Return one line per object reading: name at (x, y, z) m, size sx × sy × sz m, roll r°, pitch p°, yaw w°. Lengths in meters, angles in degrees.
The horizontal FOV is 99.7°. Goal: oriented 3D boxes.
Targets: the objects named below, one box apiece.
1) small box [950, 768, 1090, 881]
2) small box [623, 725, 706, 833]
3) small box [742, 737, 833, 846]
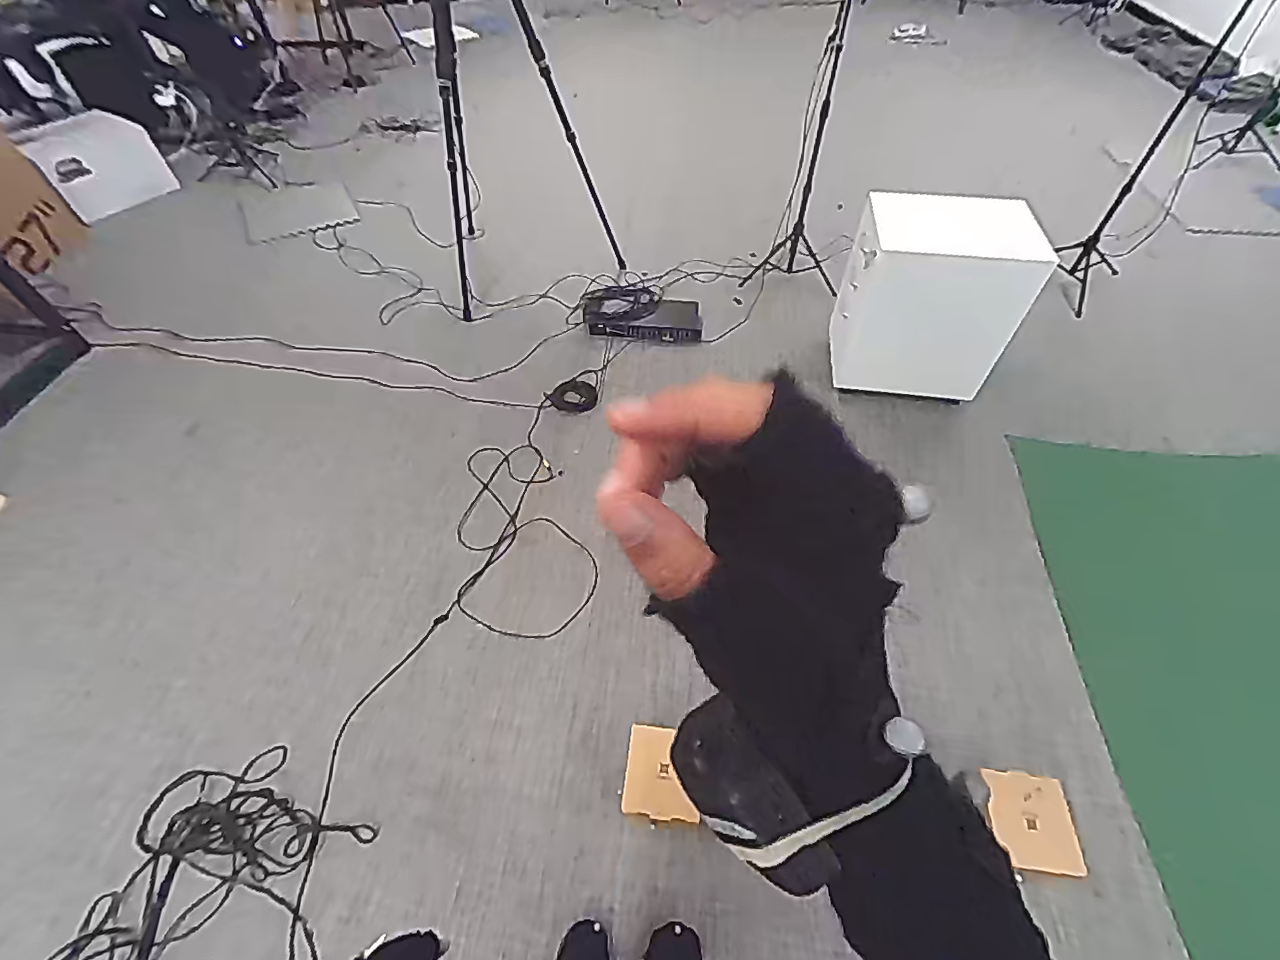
small box at (0.798, 0.740, 1.157) m, size 0.168 × 0.176 × 0.179 m, roll 6°, pitch 52°, yaw 5°
small box at (0.056, 0.679, 1.224) m, size 0.168 × 0.176 × 0.179 m, roll 5°, pitch 52°, yaw 6°
small box at (0.320, 0.695, 1.201) m, size 0.168 × 0.176 × 0.179 m, roll 4°, pitch 51°, yaw 5°
